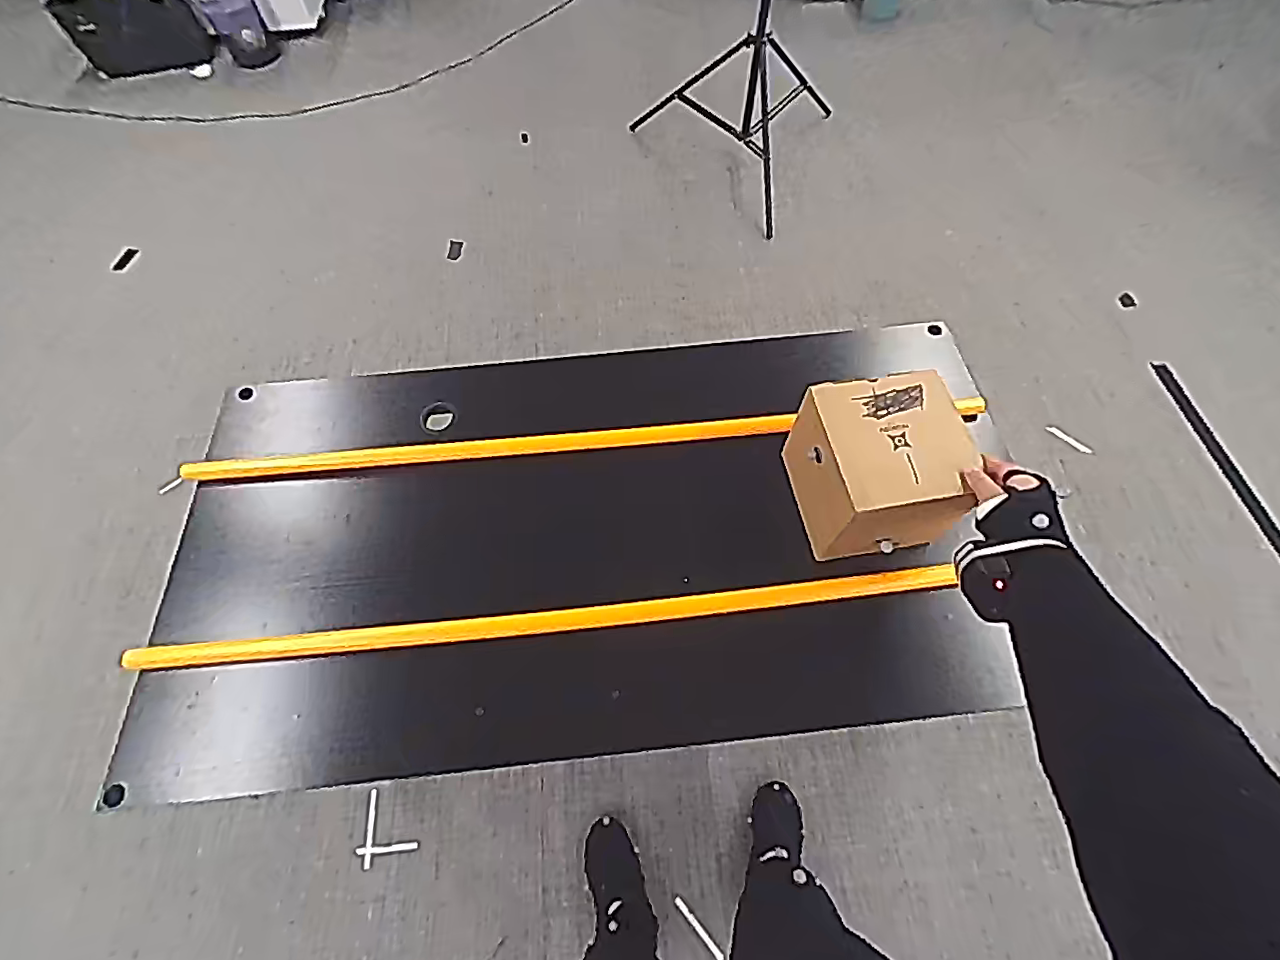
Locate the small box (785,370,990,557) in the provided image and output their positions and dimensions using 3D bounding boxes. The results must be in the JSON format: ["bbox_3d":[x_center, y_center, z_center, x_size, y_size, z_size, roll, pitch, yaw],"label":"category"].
[{"bbox_3d":[0.304,-0.017,0.713,0.168,0.176,0.179,-9,63,-2],"label":"small box"}]
